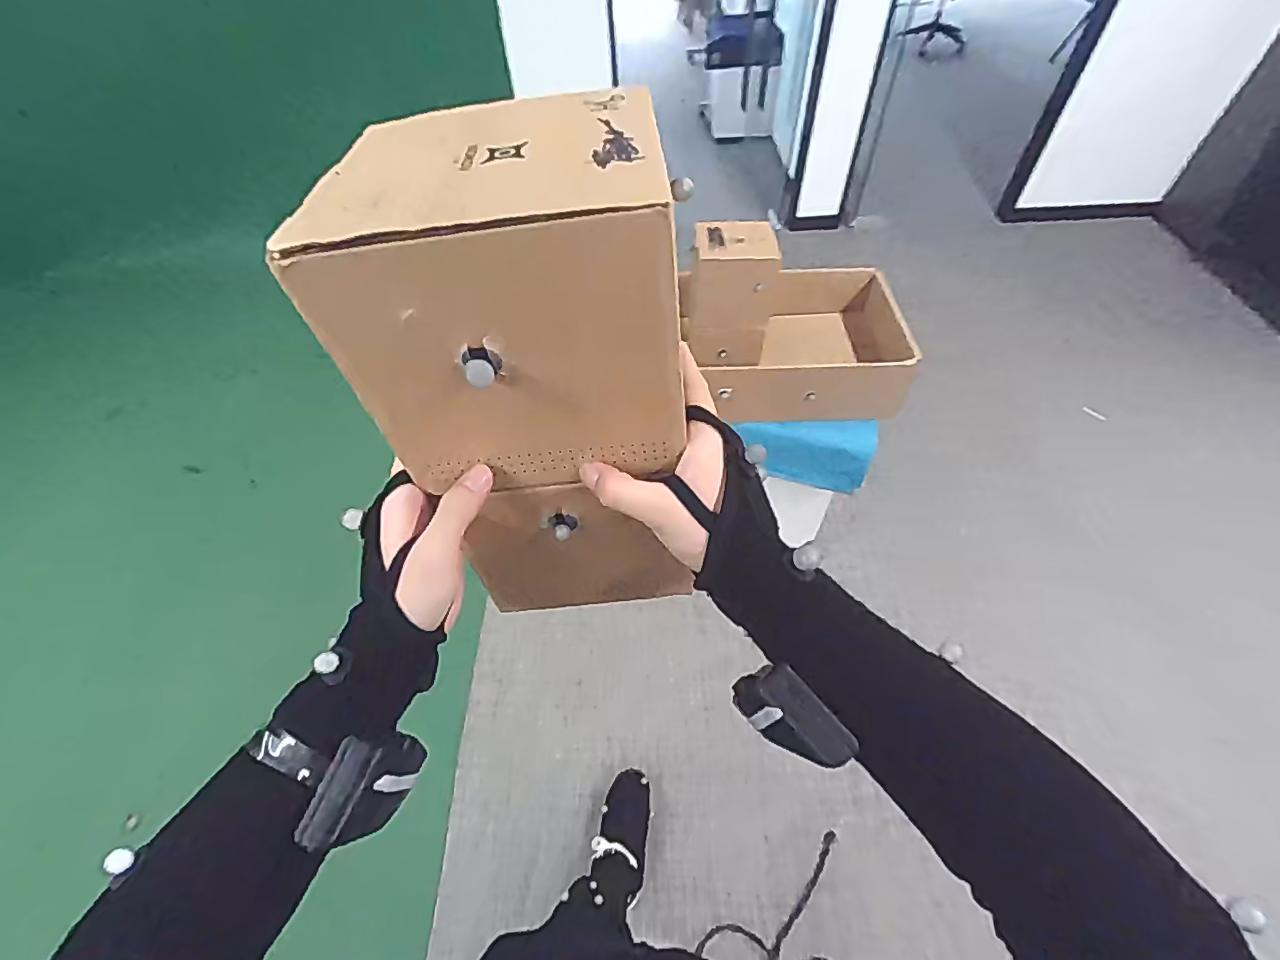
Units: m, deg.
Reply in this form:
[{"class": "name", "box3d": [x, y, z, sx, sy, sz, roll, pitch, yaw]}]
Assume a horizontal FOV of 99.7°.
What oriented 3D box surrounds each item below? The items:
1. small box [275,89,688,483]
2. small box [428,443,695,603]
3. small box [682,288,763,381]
[{"class": "small box", "box3d": [-0.068, -0.113, 0.342, 0.179, 0.176, 0.168, -7, 50, 4]}, {"class": "small box", "box3d": [-0.049, -0.007, 0.465, 0.179, 0.176, 0.168, -5, 49, 3]}, {"class": "small box", "box3d": [0.201, -0.364, 1.368, 0.179, 0.176, 0.168, 1, 51, 1]}]
